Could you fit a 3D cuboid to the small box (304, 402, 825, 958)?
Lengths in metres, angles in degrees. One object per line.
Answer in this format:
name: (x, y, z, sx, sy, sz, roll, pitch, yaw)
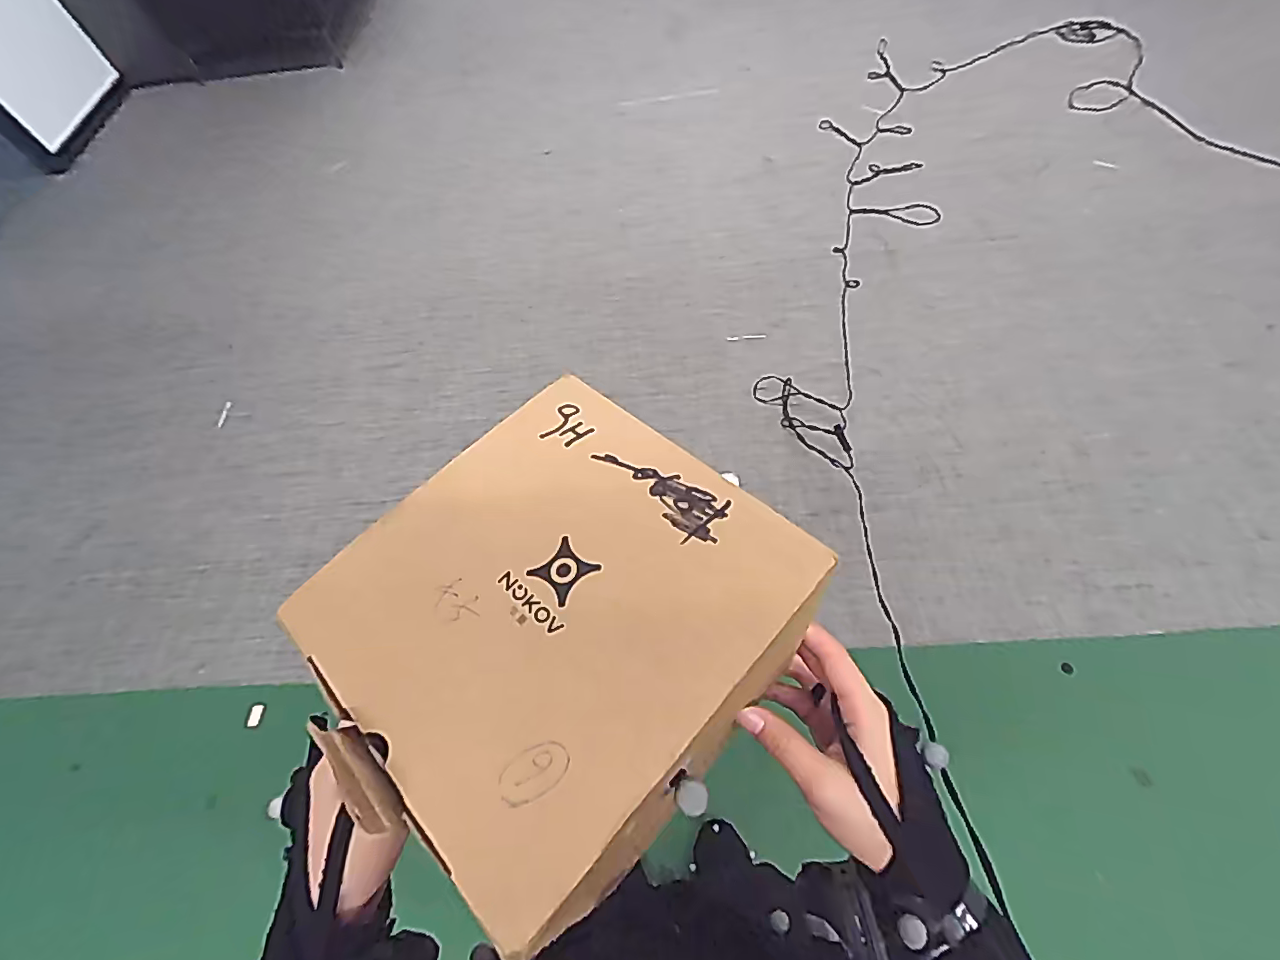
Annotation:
small box: (-0.026, 0.098, 0.300, 0.168, 0.176, 0.179, 36, 68, 26)
